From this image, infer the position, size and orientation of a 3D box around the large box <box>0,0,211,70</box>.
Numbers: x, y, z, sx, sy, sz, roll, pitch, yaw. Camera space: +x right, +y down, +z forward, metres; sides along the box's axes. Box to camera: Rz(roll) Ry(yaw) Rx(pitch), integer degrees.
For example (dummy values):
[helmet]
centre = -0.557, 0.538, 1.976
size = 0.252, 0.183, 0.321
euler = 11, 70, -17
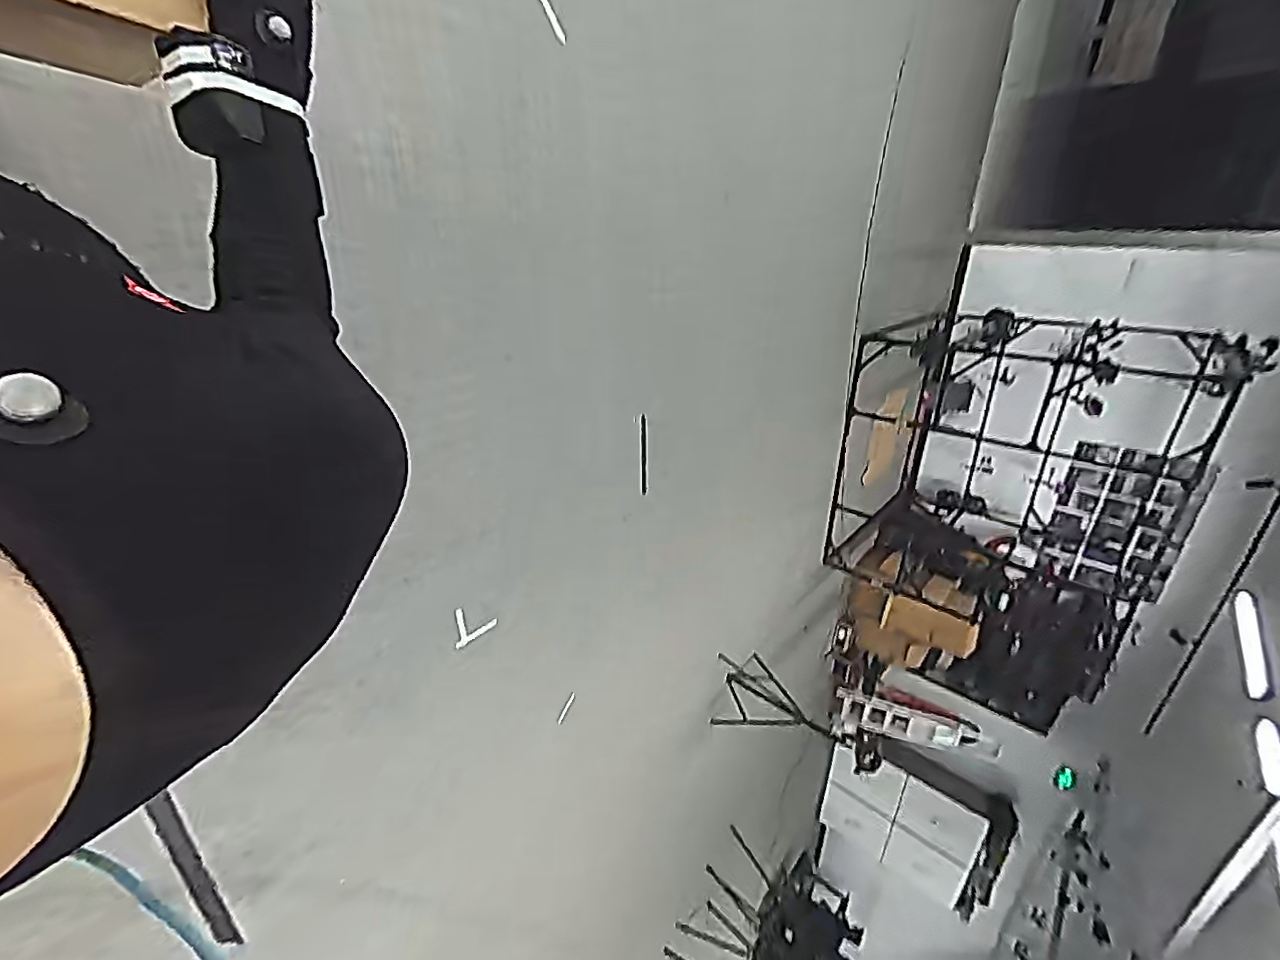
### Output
[large box]
centre = -0.538, -0.477, 0.283
size = 0.408, 0.320, 0.320
euler = -17, 123, -47
